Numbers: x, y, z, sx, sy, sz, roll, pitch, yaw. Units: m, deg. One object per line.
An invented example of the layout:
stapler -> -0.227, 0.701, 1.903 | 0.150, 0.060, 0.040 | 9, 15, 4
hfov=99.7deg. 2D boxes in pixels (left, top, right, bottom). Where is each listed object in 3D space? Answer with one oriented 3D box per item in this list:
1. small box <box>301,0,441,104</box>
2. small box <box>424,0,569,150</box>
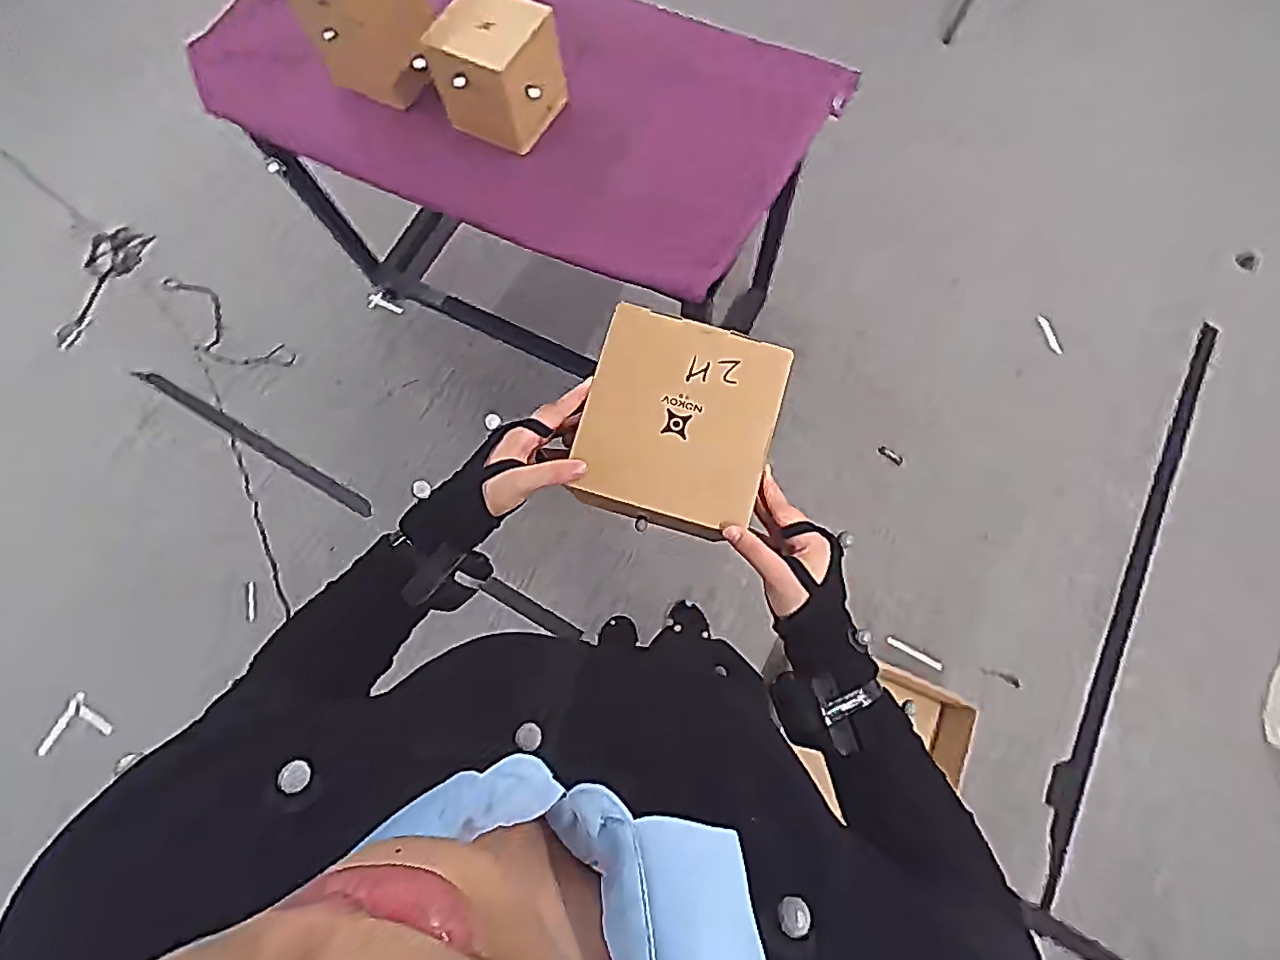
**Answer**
small box -> -0.506, -0.880, 1.051 | 0.179, 0.176, 0.168 | 28, 77, 9
small box -> -0.252, -0.757, 1.004 | 0.179, 0.176, 0.168 | 28, 77, 11
